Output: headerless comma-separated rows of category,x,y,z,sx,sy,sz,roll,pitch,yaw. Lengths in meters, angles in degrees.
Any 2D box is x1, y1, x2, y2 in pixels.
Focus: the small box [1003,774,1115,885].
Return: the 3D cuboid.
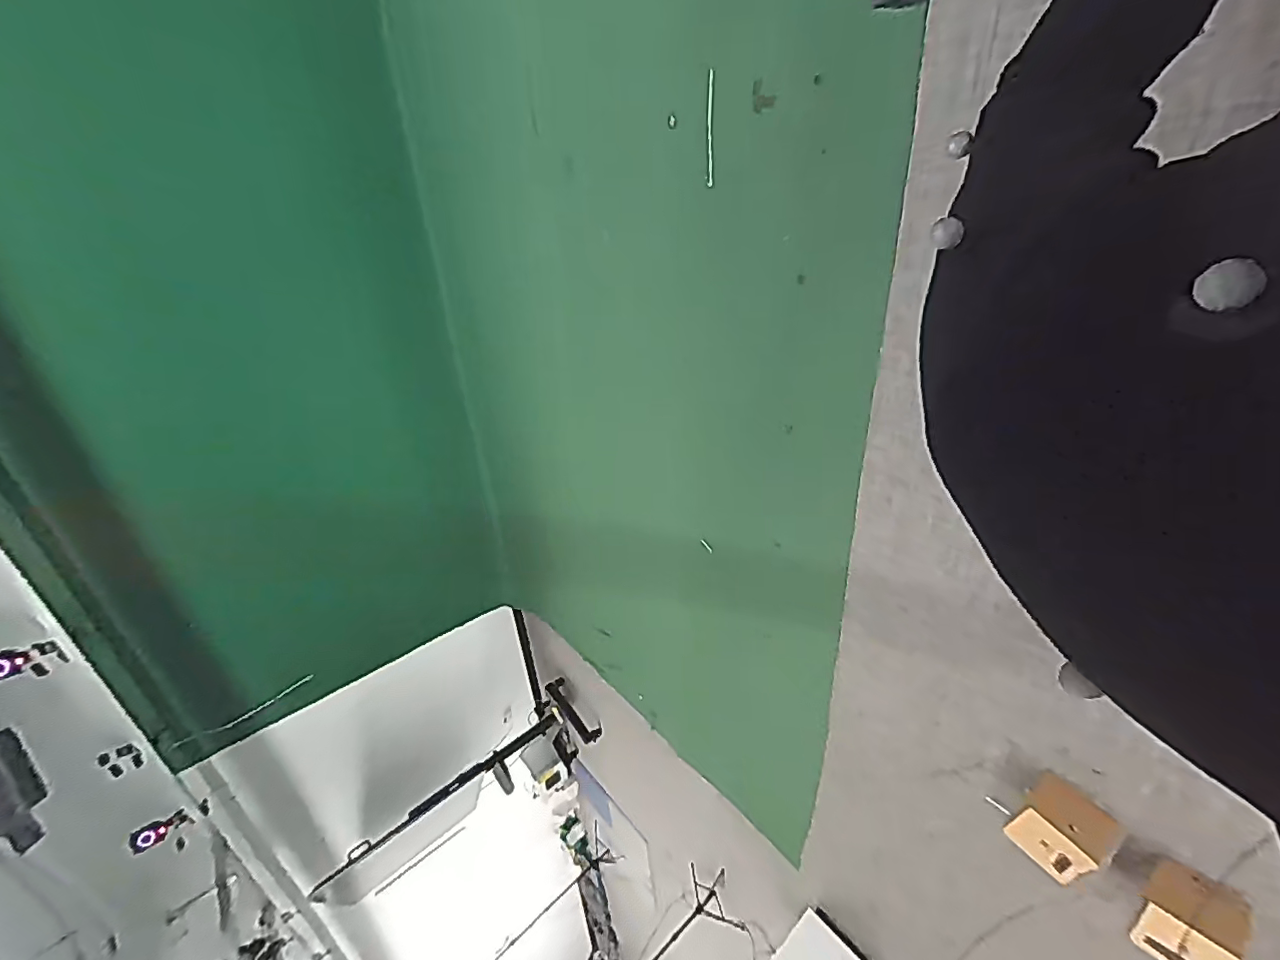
small box,1.190,0.987,1.534,0.179,0.176,0.168,41,138,35
